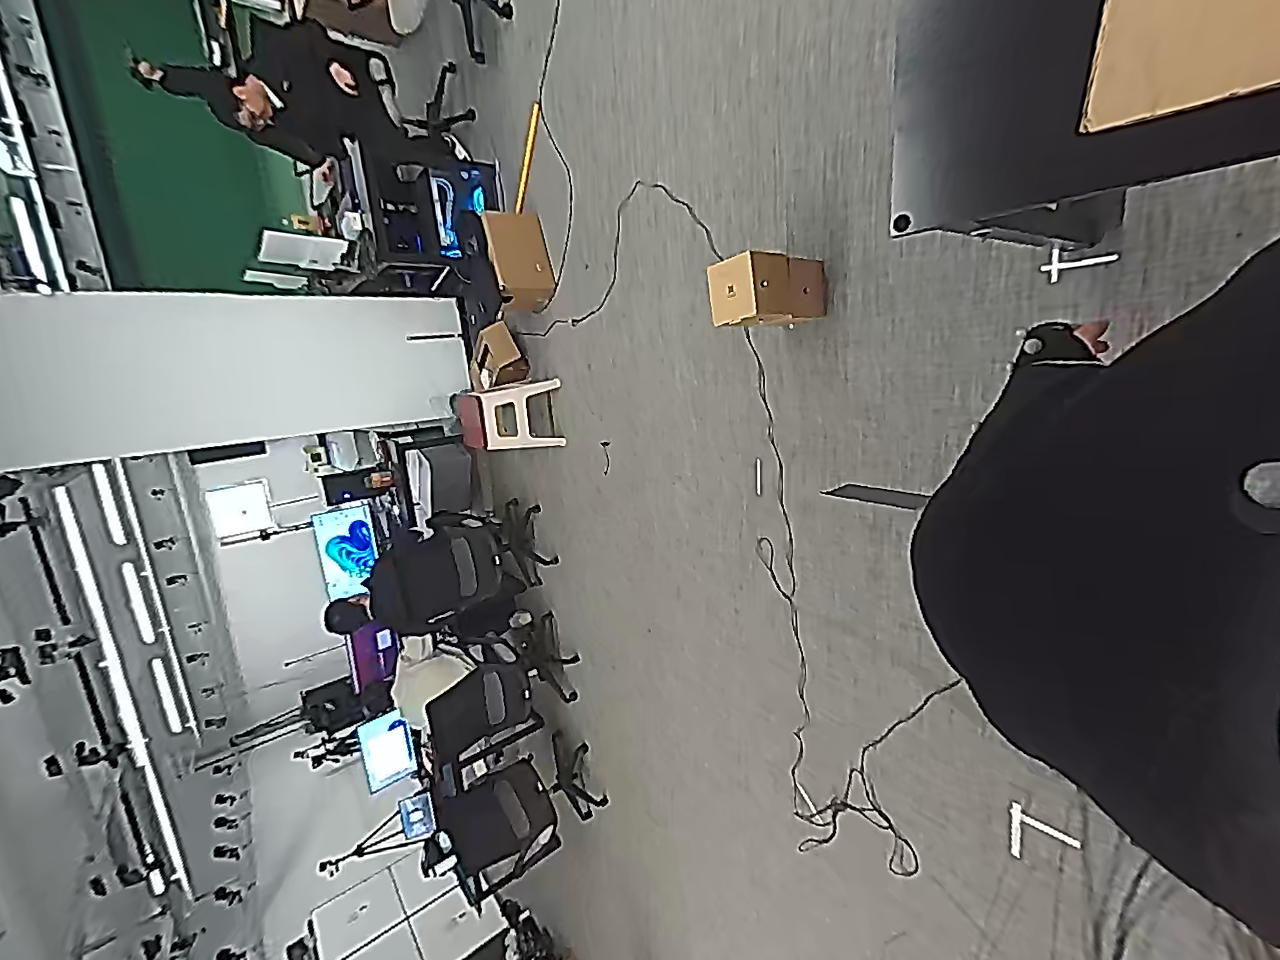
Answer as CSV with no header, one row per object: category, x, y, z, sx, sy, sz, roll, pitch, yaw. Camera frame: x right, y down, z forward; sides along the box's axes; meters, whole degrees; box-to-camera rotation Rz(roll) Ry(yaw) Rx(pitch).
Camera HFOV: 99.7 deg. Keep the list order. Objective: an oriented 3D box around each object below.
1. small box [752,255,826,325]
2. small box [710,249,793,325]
small box,0.457,-0.583,1.675,0.168,0.176,0.179,6,106,52
small box,0.328,-0.558,1.578,0.168,0.176,0.179,2,102,52
